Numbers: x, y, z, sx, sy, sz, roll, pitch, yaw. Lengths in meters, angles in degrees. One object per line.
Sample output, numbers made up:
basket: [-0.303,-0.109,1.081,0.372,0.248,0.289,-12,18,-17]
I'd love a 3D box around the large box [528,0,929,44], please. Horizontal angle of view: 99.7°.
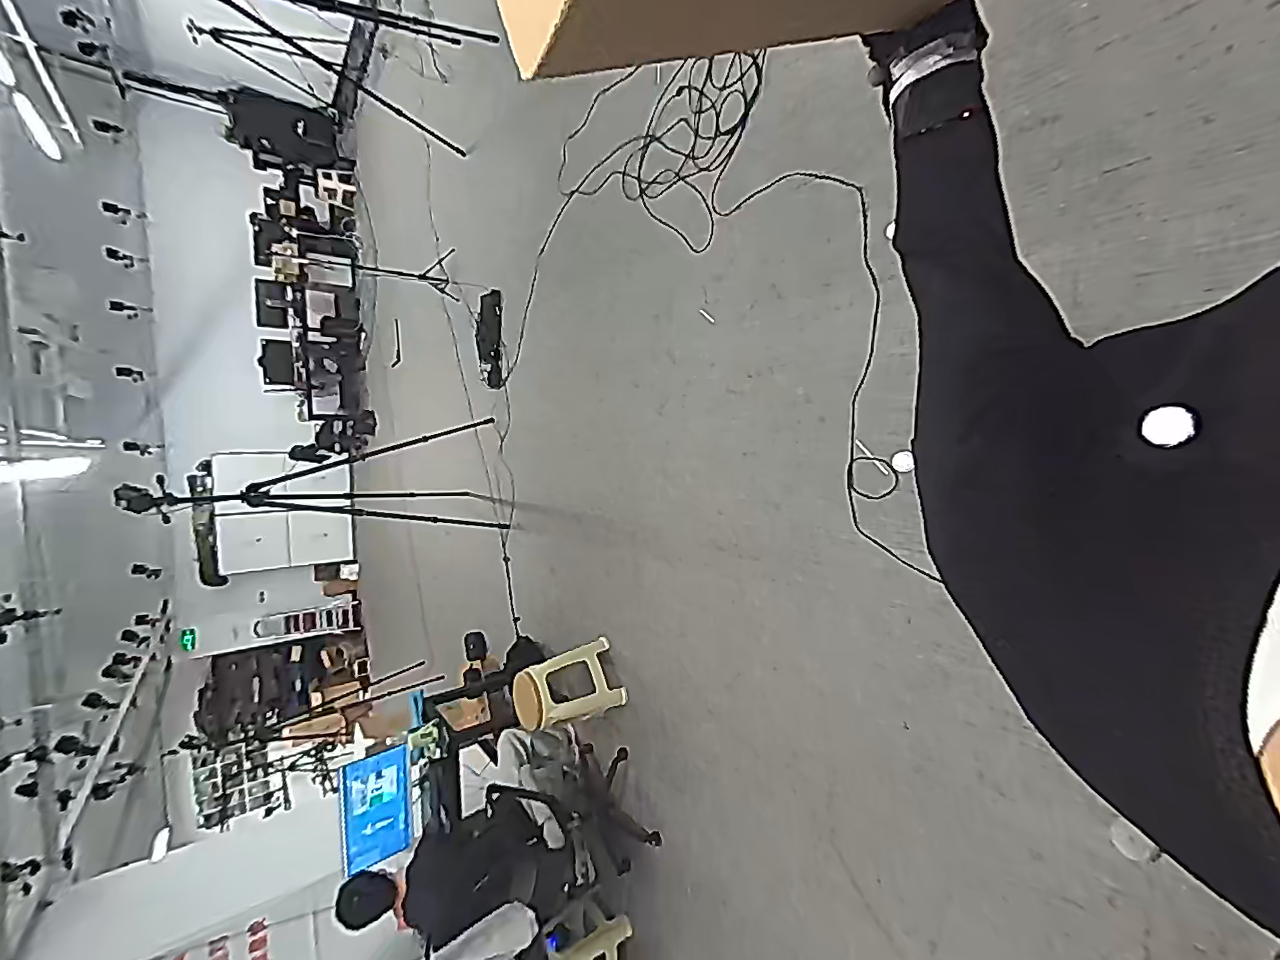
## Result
large box: [0.118,-0.401,0.143,0.408,0.320,0.320,33,141,62]
